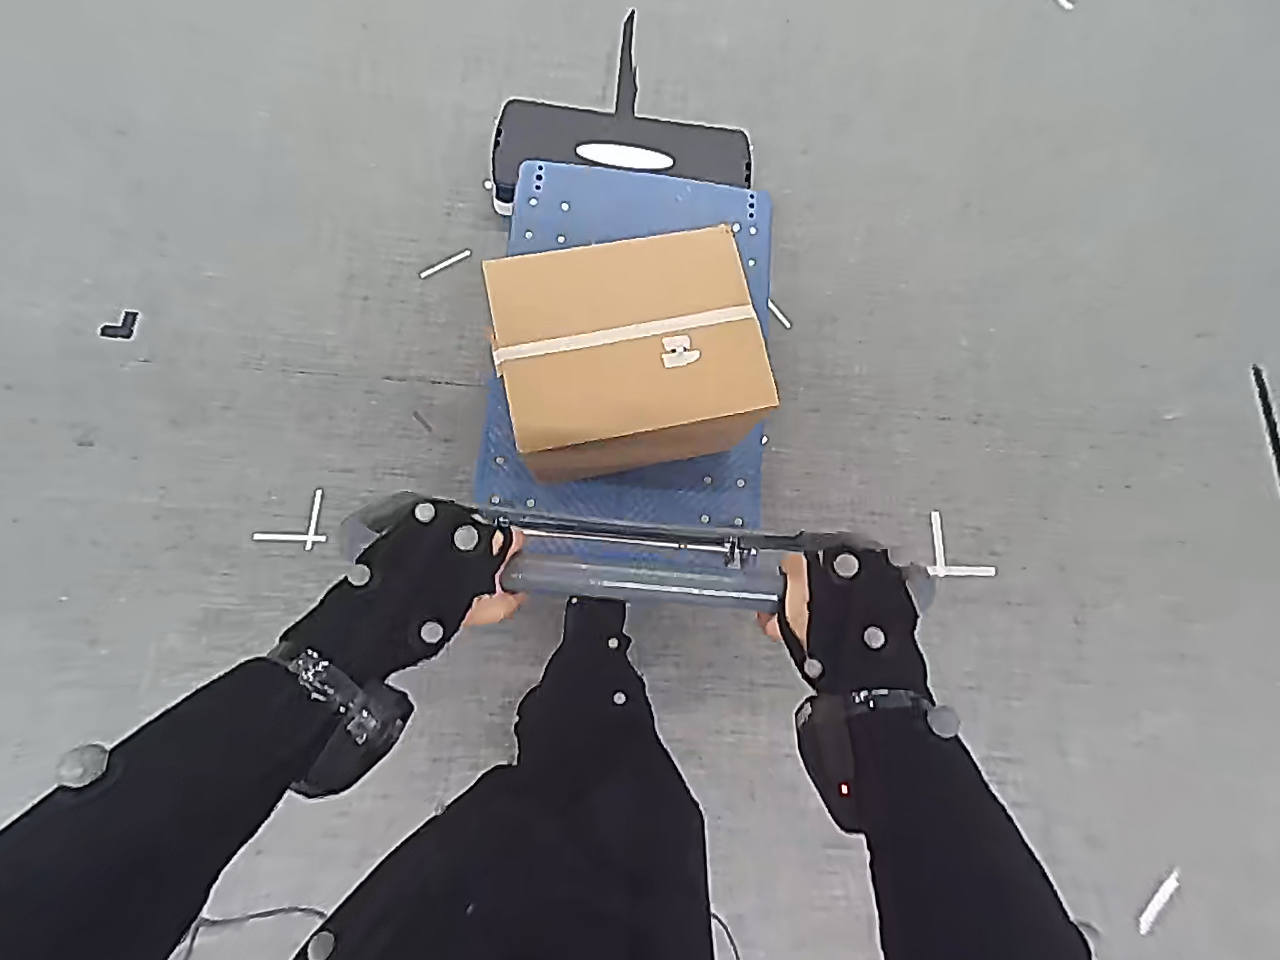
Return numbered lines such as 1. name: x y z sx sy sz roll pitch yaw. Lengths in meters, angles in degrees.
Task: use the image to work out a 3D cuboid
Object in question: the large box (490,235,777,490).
1. large box: -0.025 -0.191 0.985 0.408 0.320 0.320 -11 82 -8
